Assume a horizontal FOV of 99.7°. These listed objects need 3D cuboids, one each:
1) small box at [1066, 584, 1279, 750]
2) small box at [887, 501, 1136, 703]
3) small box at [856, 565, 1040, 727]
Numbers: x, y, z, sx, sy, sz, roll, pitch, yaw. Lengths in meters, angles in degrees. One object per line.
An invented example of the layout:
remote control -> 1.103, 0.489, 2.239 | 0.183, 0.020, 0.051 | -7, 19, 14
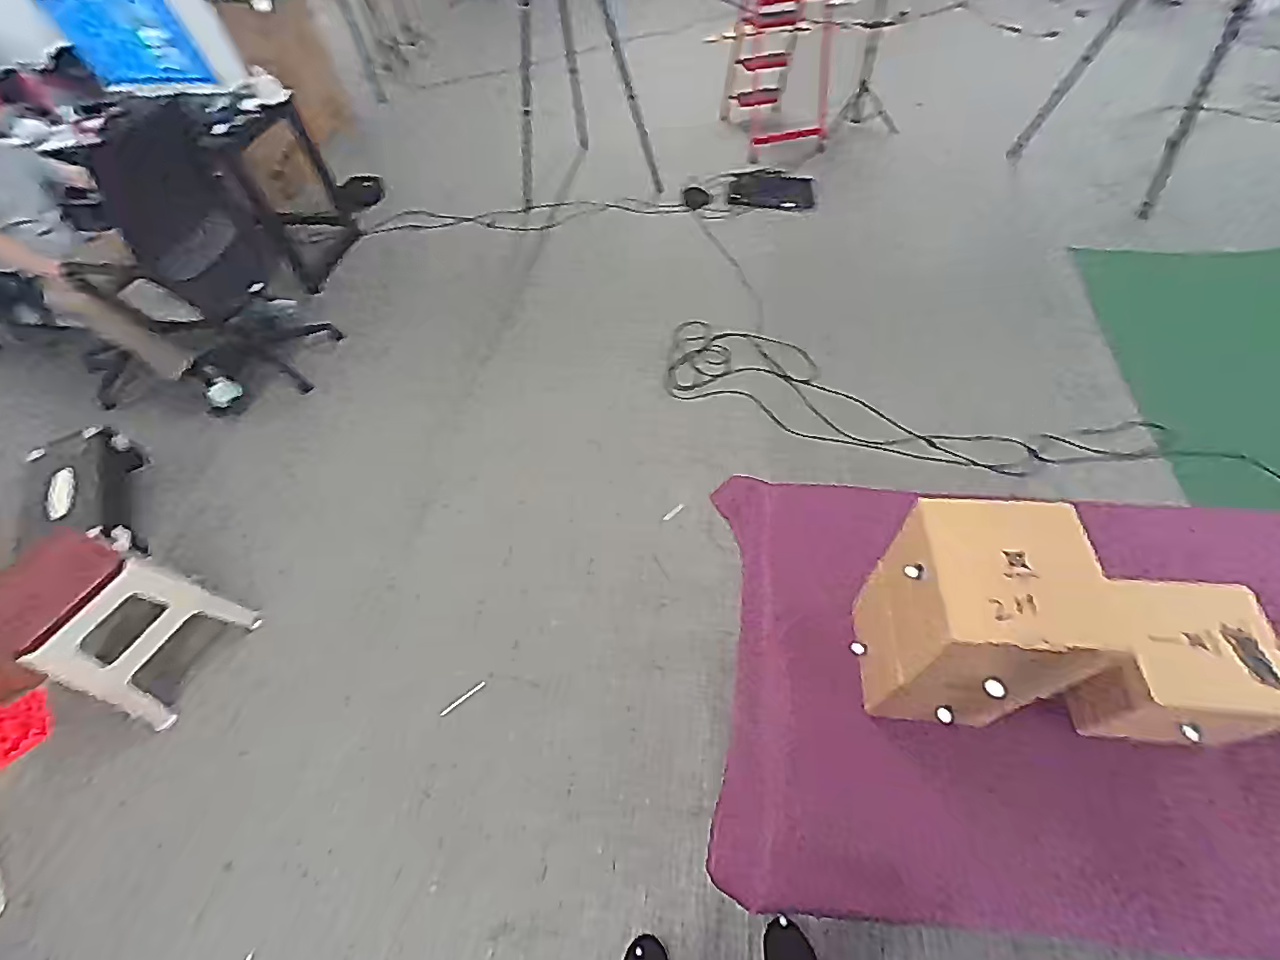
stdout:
small box -> 0.707, 0.256, 0.729 | 0.179, 0.176, 0.168 | 2, 54, 8
small box -> 0.407, 0.144, 0.636 | 0.168, 0.176, 0.179 | 2, 54, 8
small box -> 0.419, 0.240, 0.770 | 0.168, 0.176, 0.179 | 3, 55, 7
